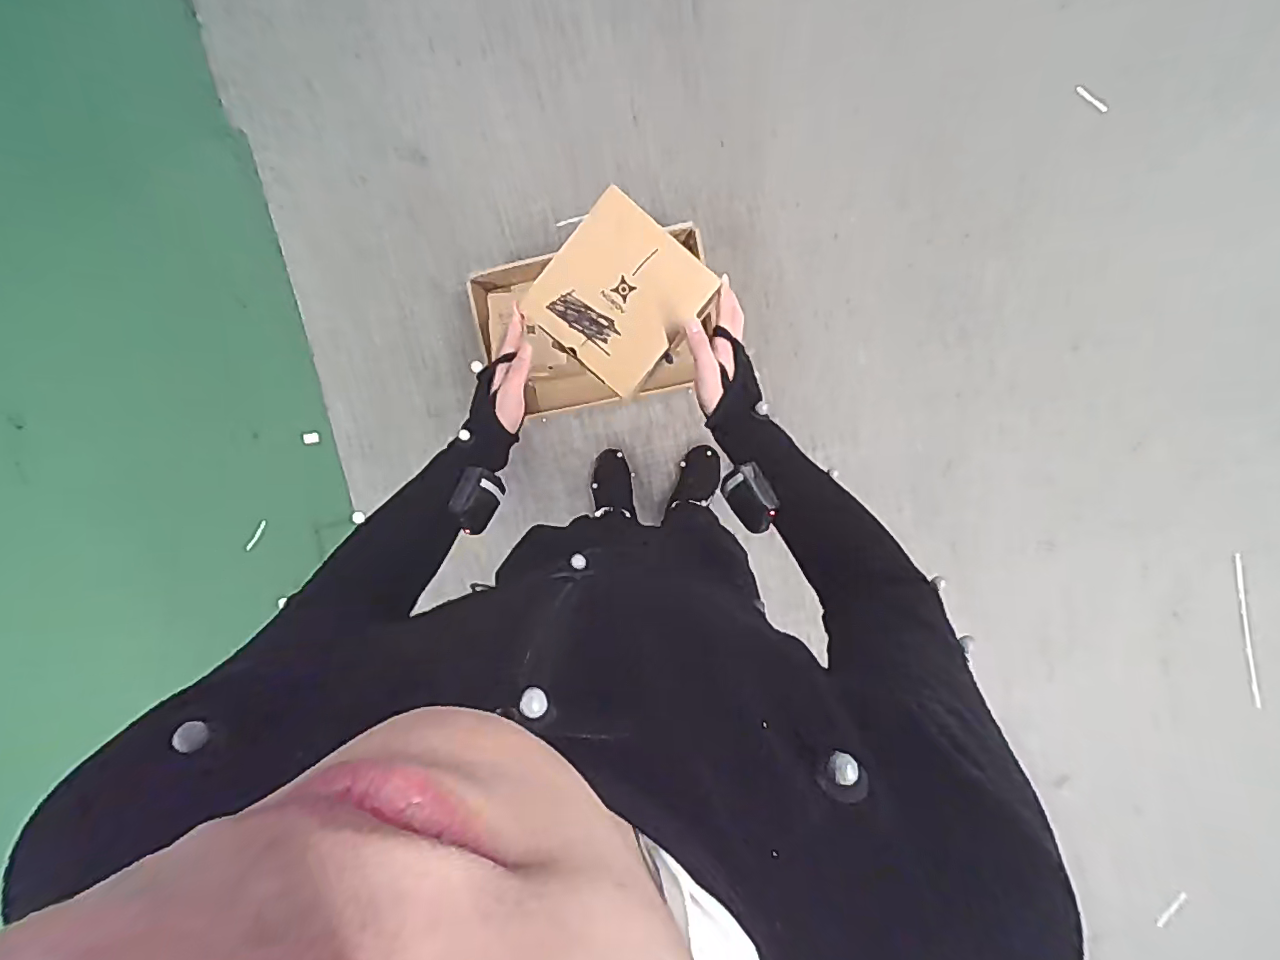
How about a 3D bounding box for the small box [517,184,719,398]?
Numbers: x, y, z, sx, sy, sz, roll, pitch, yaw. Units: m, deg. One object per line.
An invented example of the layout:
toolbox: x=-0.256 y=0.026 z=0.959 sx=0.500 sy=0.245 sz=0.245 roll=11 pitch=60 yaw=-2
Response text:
small box: x=-0.021 y=-0.220 z=0.686 sx=0.168 sy=0.176 sz=0.179 roll=41 pitch=97 yaw=-3
